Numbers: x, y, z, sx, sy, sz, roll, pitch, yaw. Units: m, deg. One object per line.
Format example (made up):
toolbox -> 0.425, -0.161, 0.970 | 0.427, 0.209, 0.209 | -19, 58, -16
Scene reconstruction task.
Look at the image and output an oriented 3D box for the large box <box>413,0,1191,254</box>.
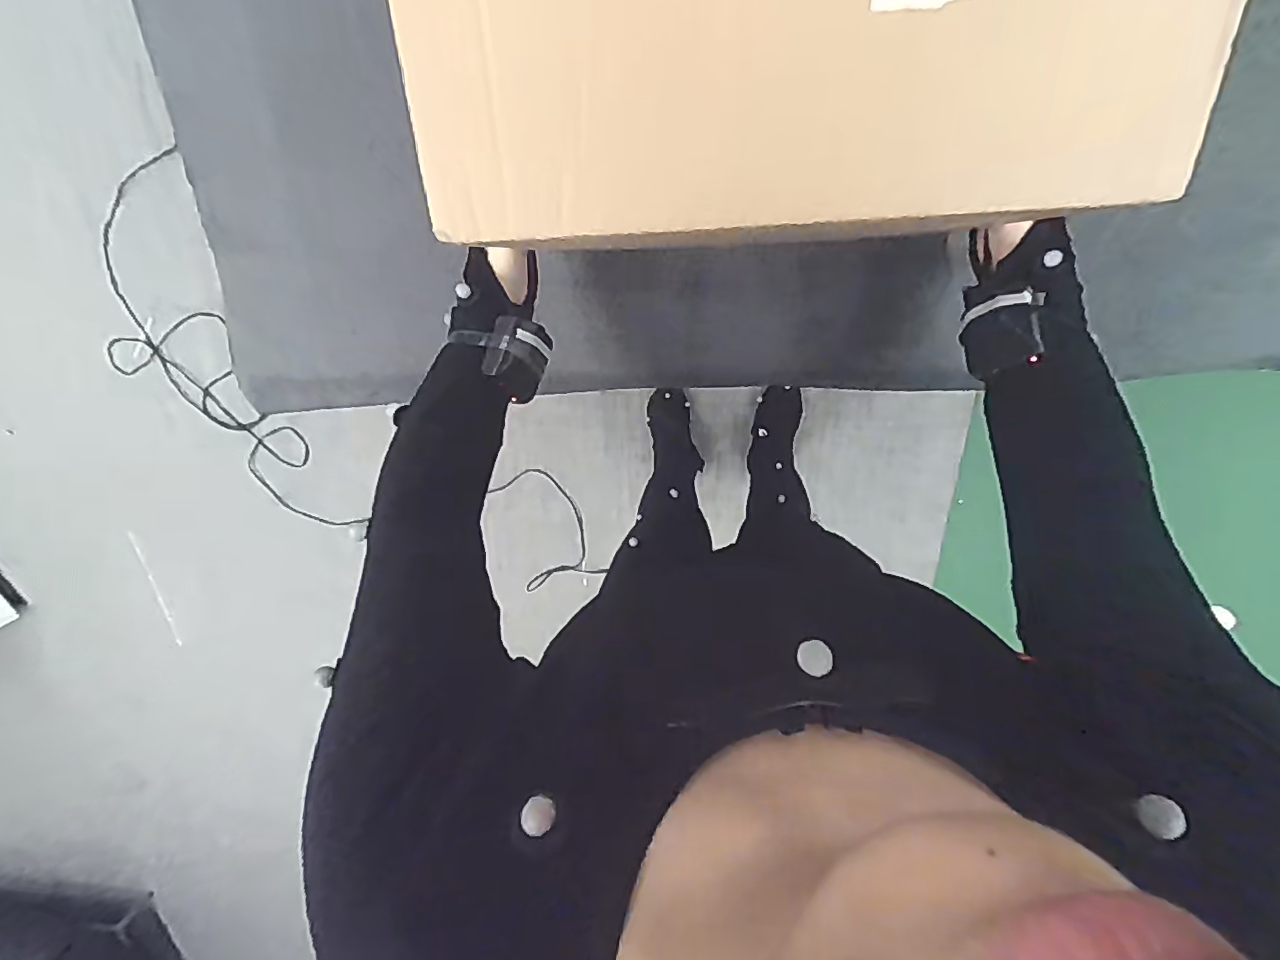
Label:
large box -> 0.084, -0.351, 0.402 | 0.408, 0.320, 0.320 | 0, 112, 7
